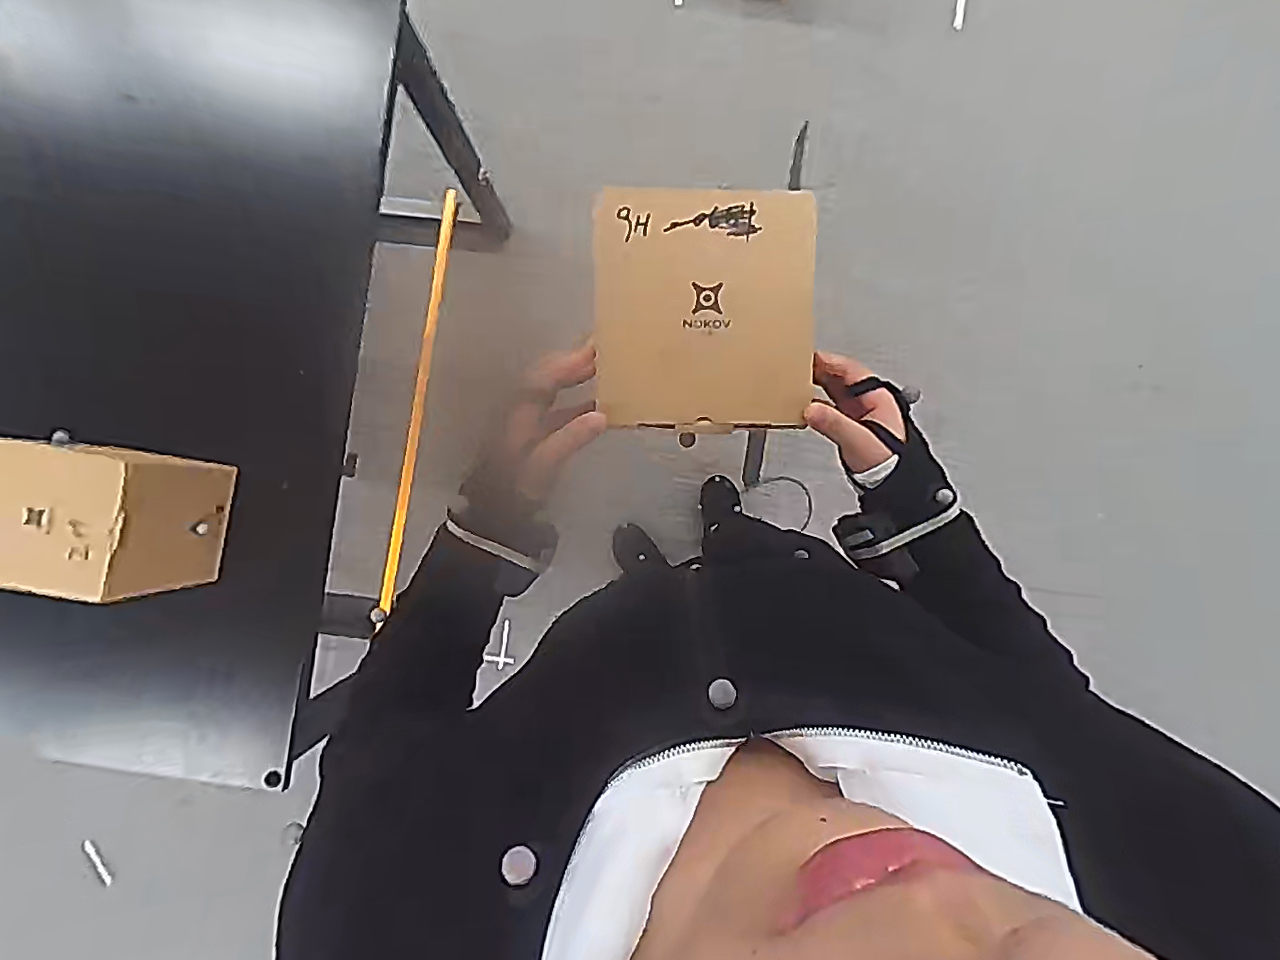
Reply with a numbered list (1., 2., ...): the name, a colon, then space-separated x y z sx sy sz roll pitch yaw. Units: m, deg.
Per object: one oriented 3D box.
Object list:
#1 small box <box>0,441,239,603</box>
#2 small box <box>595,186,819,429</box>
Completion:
1. small box: -0.679 0.051 0.703 0.179 0.176 0.168 9 88 1
2. small box: 0.047 -0.137 0.483 0.168 0.176 0.179 0 97 -2
